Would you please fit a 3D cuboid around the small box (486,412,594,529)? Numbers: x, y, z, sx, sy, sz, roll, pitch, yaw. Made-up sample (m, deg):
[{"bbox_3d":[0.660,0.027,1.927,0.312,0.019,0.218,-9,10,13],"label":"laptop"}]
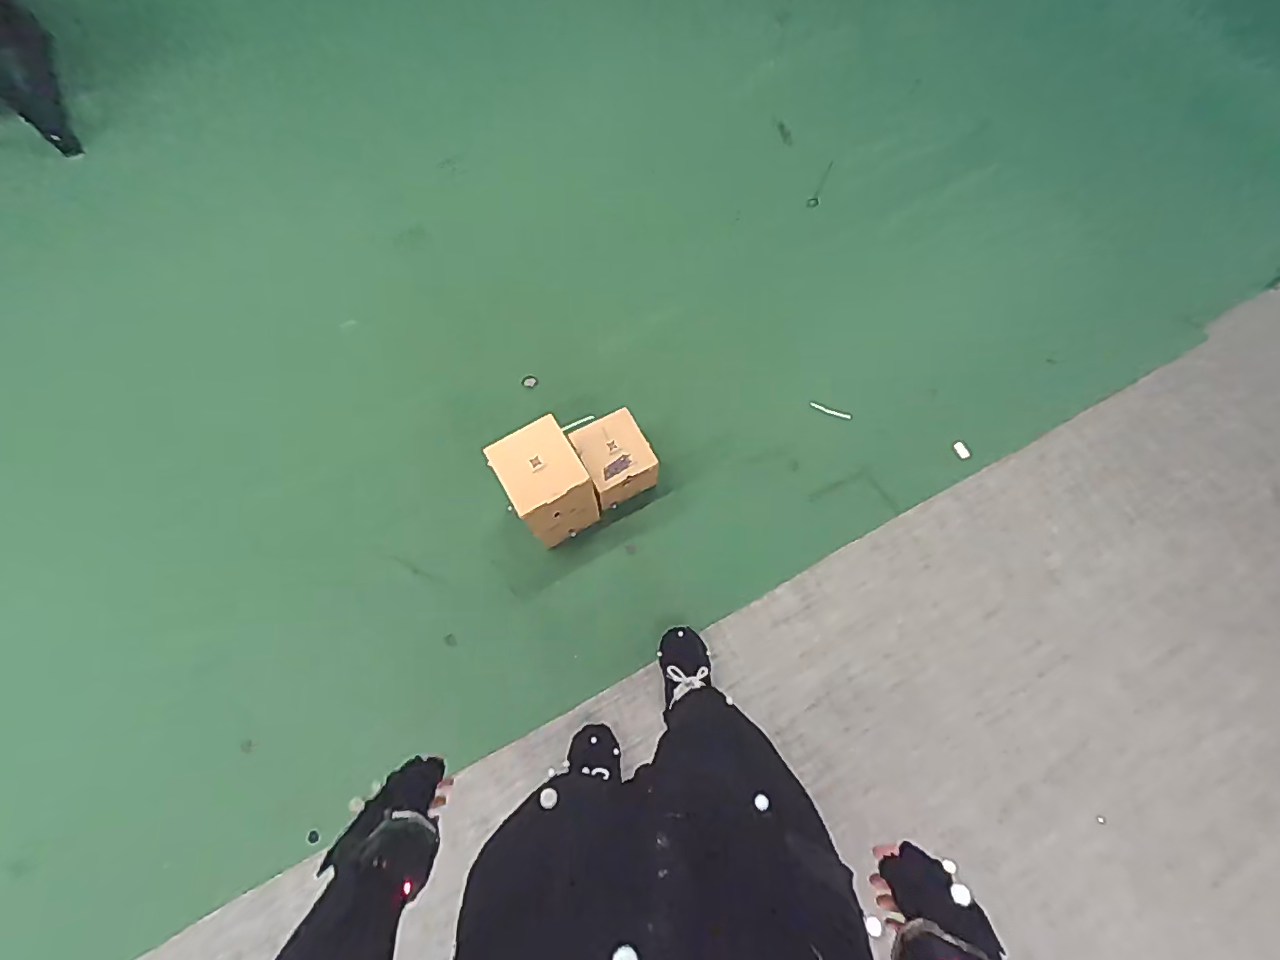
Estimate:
[{"bbox_3d":[-0.215,-0.015,1.200,0.168,0.176,0.179,-30,76,-11],"label":"small box"}]
